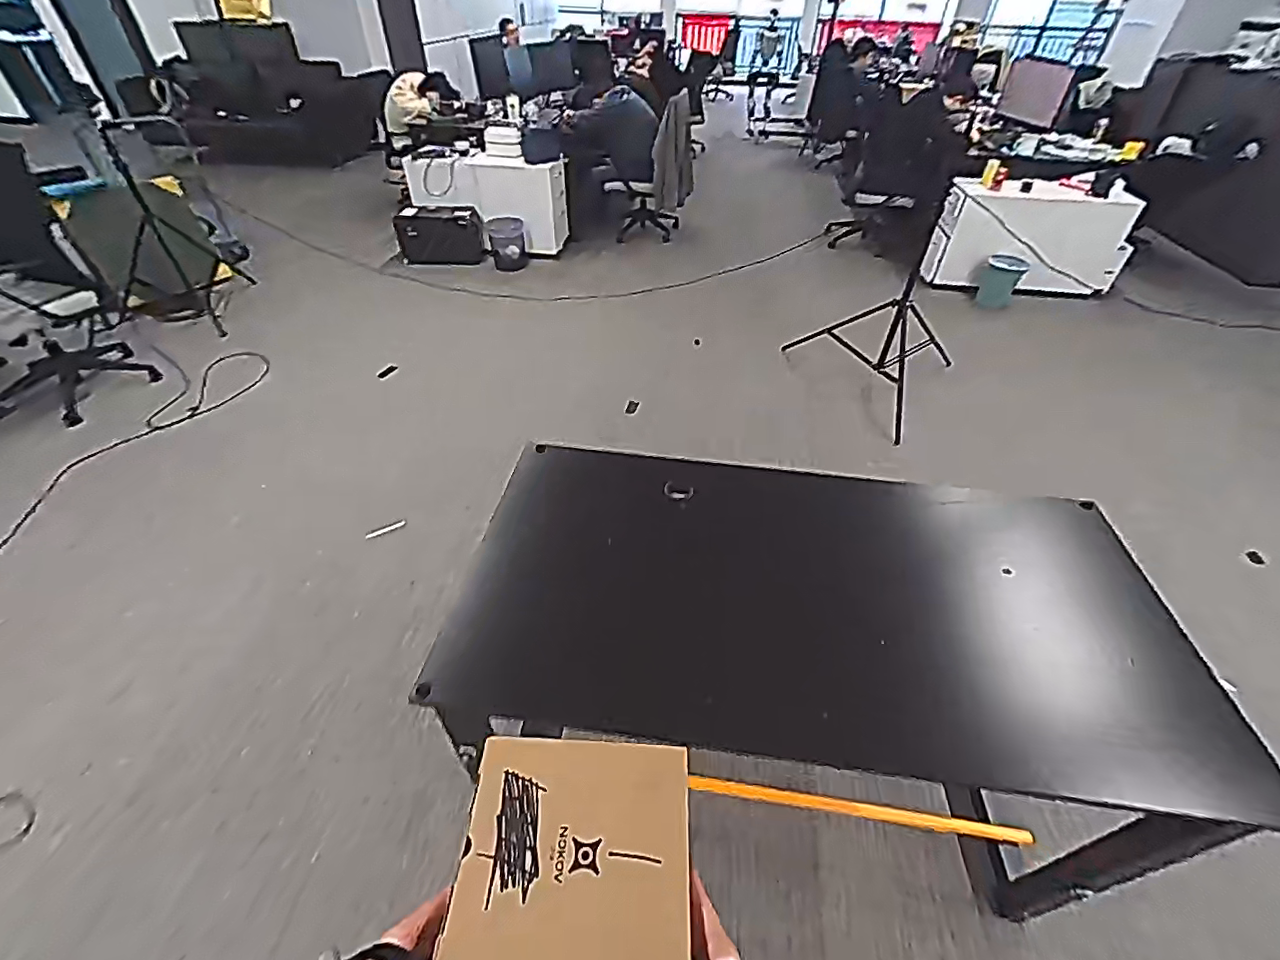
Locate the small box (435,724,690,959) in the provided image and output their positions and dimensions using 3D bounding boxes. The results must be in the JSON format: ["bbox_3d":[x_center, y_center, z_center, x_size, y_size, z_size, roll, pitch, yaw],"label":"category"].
[{"bbox_3d":[-0.050,0.334,0.471,0.179,0.176,0.168,3,43,1],"label":"small box"}]
